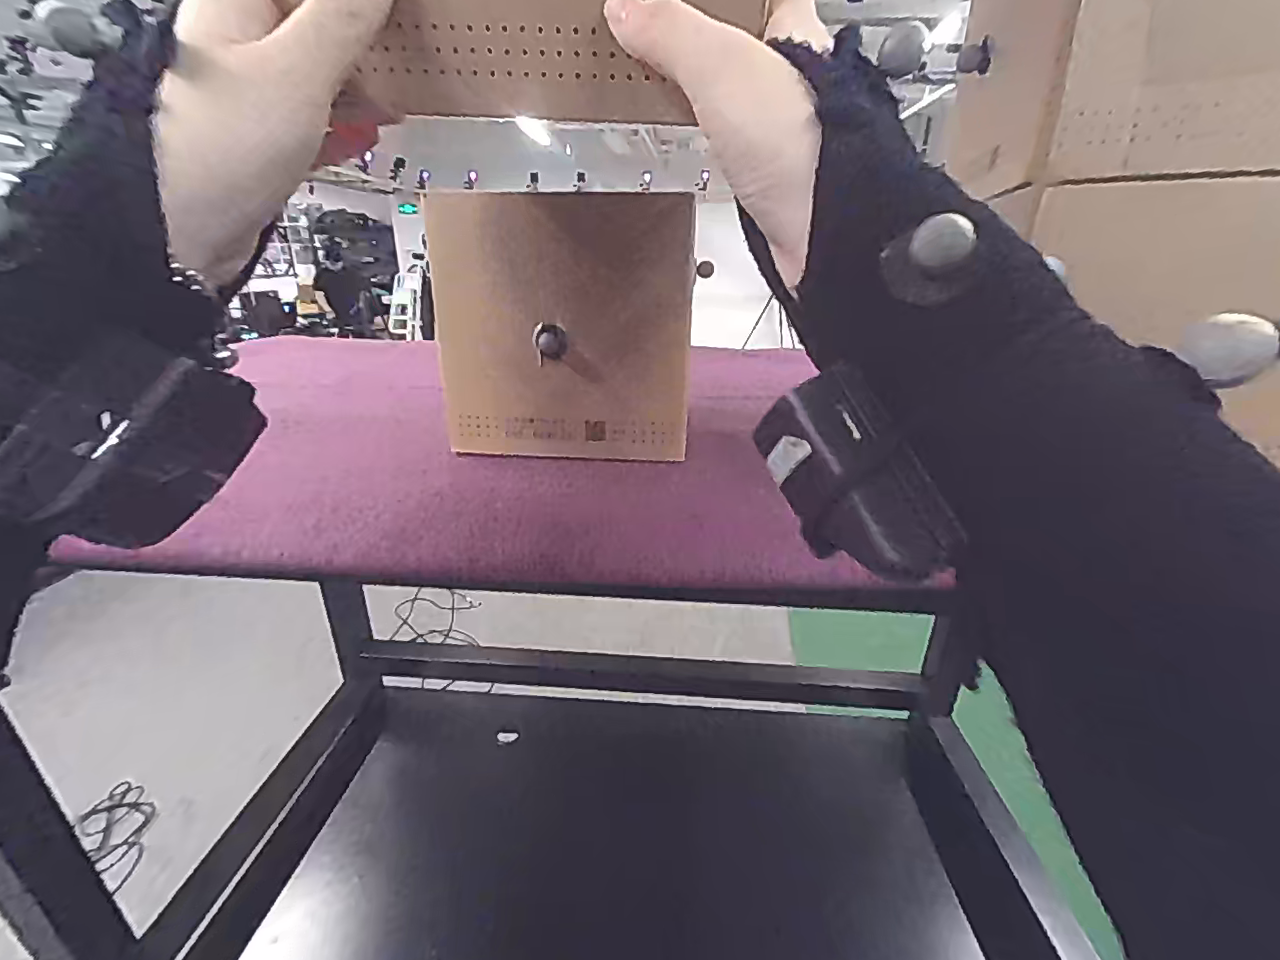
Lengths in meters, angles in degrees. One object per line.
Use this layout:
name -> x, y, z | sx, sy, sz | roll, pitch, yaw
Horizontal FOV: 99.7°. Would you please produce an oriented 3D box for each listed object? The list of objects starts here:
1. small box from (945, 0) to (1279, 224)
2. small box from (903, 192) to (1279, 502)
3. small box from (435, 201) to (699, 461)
small box -> 0.303, -0.246, 0.324 | 0.179, 0.176, 0.168 | 5, 19, 12
small box -> 0.305, -0.091, 0.372 | 0.179, 0.176, 0.168 | 2, 19, 9
small box -> -0.039, -0.120, 0.432 | 0.168, 0.176, 0.179 | 3, 21, 4
